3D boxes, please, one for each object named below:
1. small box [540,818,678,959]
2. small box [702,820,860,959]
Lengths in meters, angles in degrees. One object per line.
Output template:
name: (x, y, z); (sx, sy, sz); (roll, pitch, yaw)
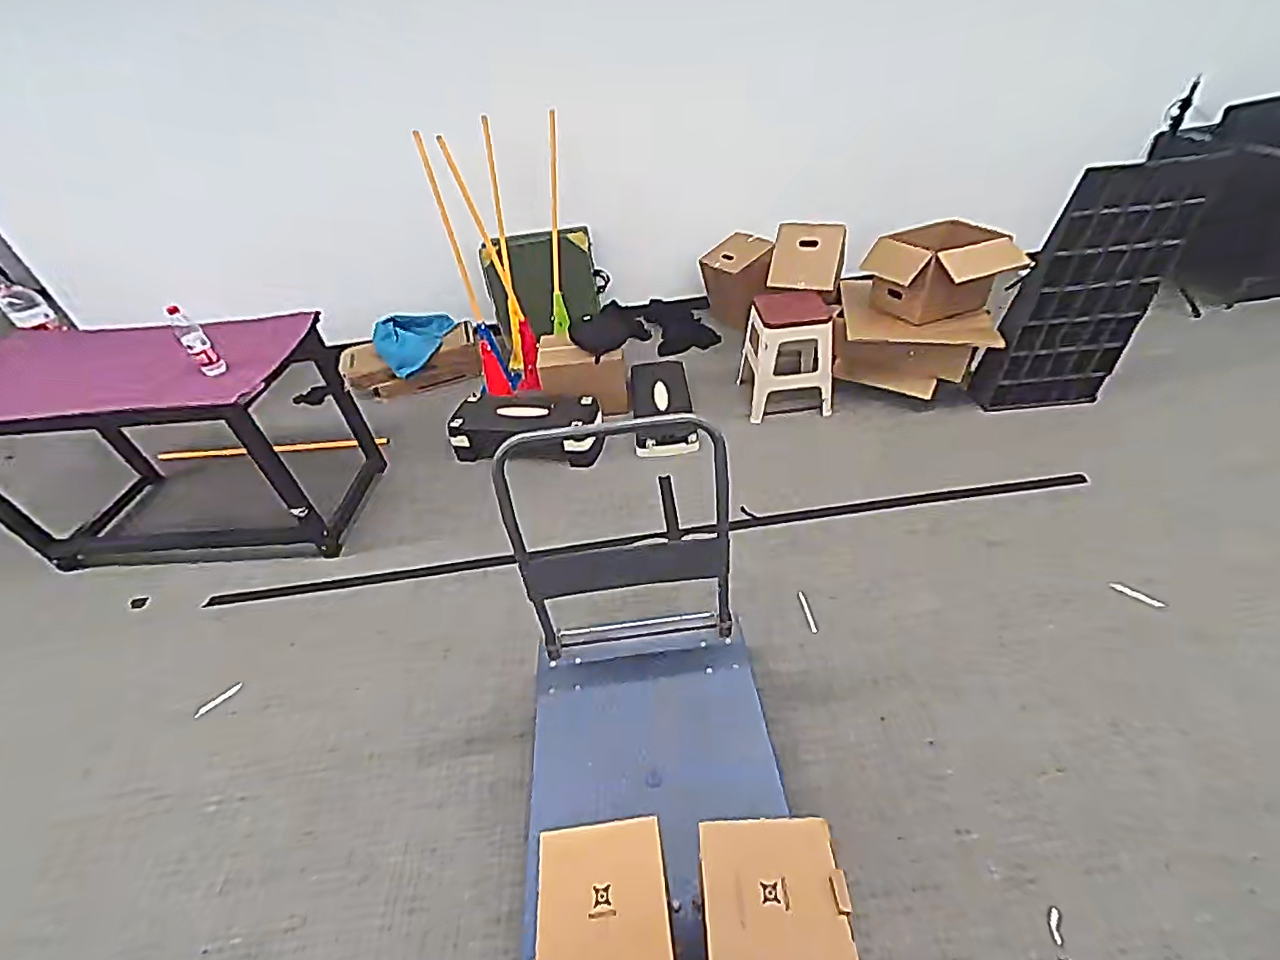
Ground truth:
small box: (-0.039, 0.597, 0.738); (0.168, 0.176, 0.179); (-8, 41, -1)
small box: (0.176, 0.580, 0.730); (0.179, 0.176, 0.168); (-4, 40, 4)
